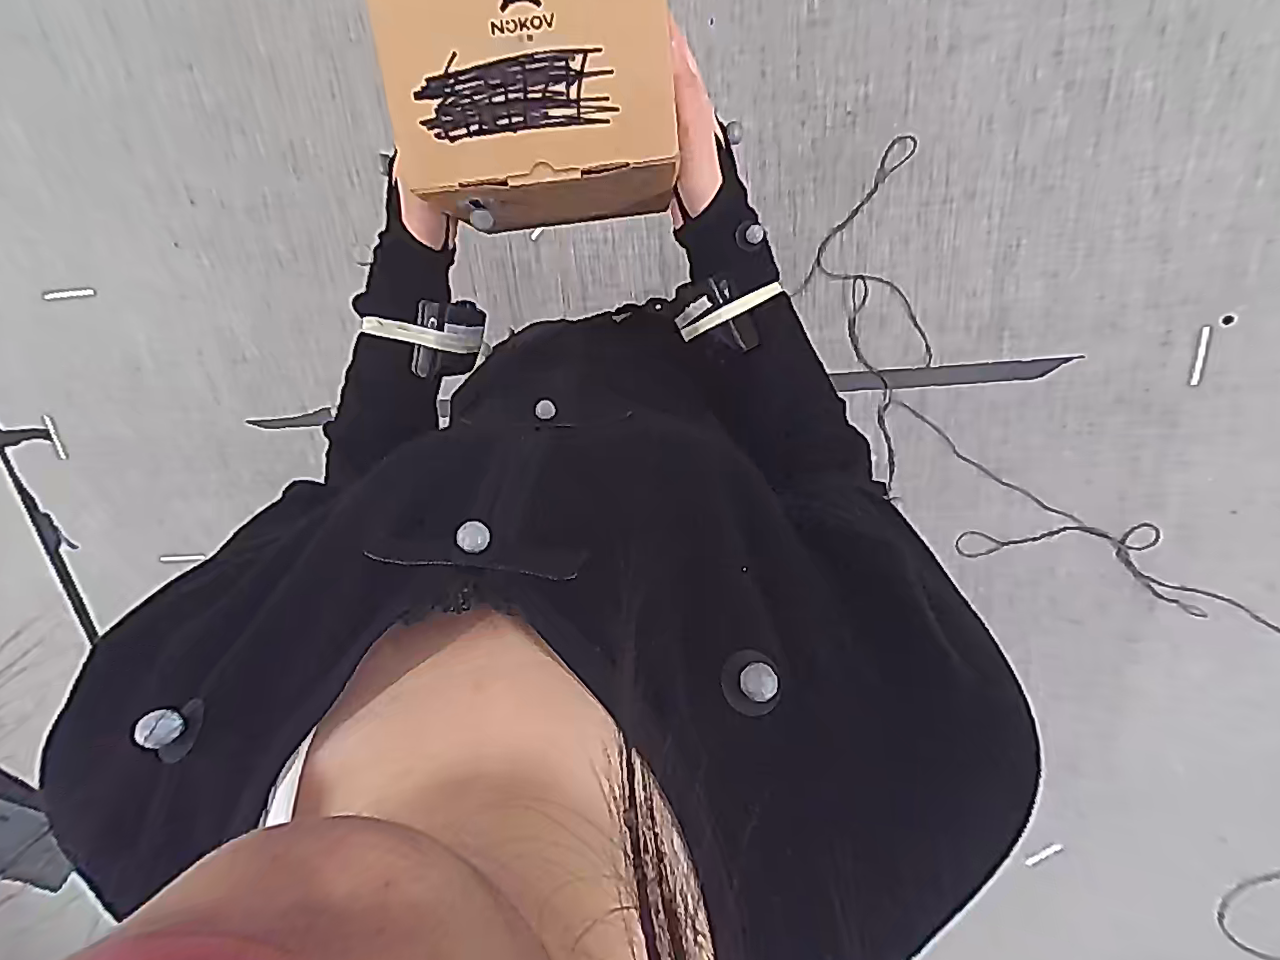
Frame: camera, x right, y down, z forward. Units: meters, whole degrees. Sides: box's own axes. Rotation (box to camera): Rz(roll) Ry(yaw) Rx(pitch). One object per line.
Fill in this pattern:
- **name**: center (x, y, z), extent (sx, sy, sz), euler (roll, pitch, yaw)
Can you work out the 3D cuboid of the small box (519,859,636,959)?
- **small box**: center (-0.098, 0.791, 0.920), extent (0.168, 0.176, 0.179), euler (-2, 108, 4)
